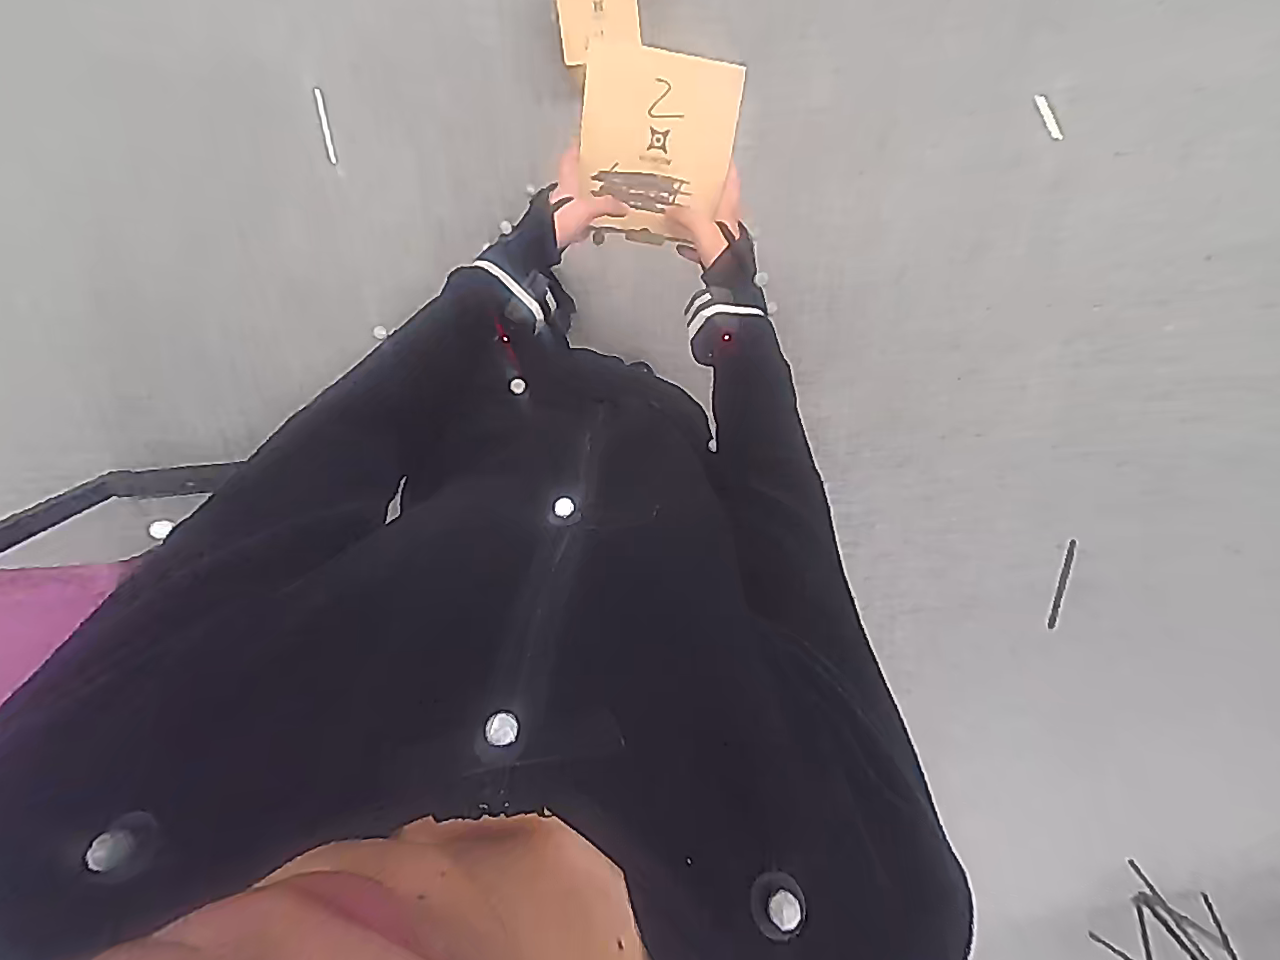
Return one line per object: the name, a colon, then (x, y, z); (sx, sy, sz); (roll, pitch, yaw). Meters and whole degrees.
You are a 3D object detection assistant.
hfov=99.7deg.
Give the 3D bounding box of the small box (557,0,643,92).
small box: (-0.090, -0.984, 1.186); (0.168, 0.176, 0.179); (-8, 114, -2)
